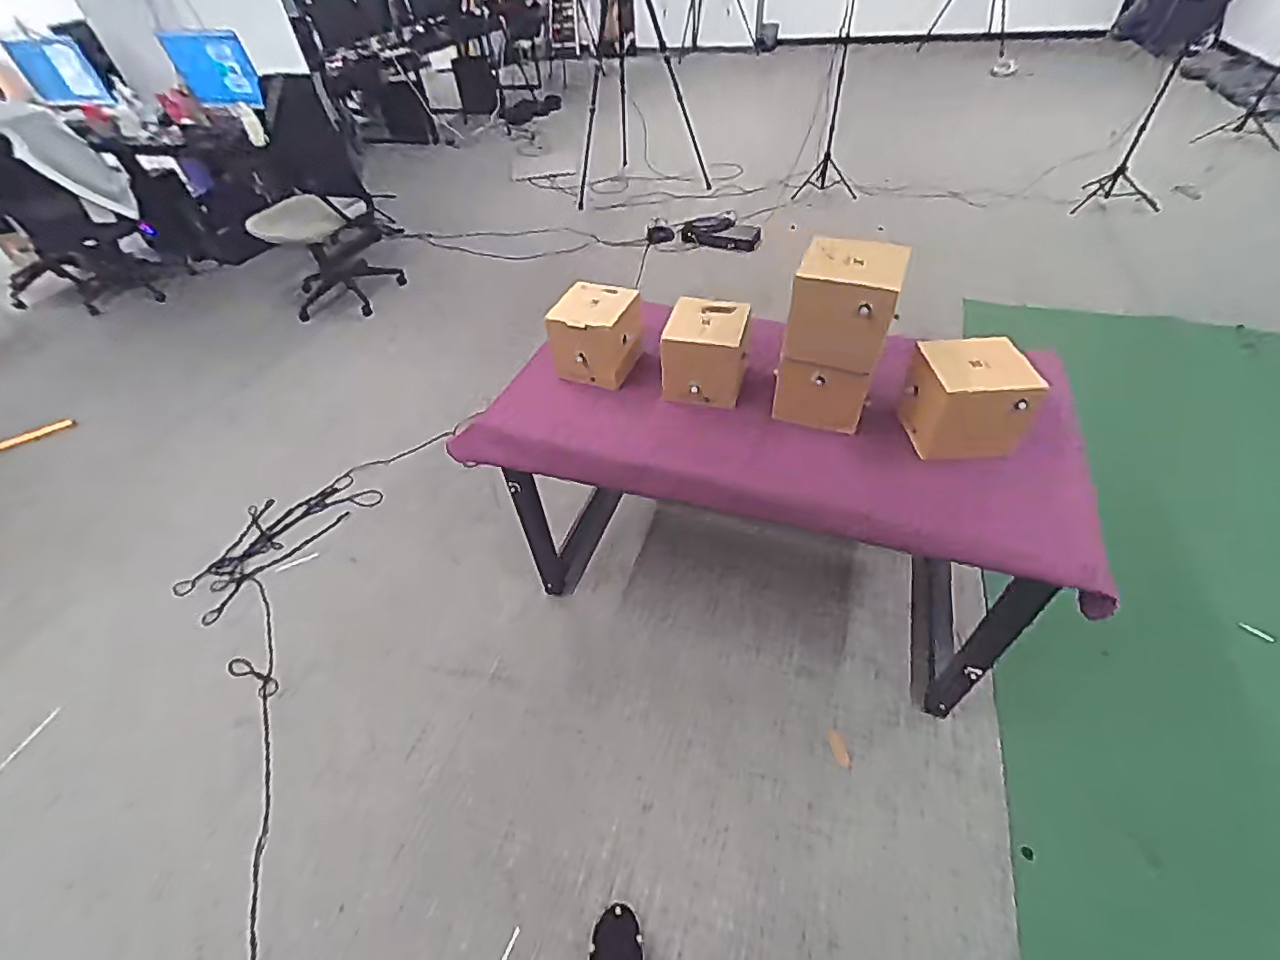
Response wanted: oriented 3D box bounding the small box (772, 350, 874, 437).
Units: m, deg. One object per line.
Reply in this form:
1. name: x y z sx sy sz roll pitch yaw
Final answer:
1. small box: 0.385 -0.213 1.131 0.179 0.176 0.168 17 50 18

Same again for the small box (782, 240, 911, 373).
1. small box: 0.378 -0.320 1.005 0.179 0.176 0.168 16 50 19

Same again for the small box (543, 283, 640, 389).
1. small box: -0.104 -0.340 1.285 0.168 0.176 0.179 15 50 17

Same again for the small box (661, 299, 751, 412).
1. small box: 0.146 -0.279 1.209 0.168 0.176 0.179 10 49 14

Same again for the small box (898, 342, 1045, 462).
1. small box: 0.623 -0.148 1.051 0.179 0.176 0.168 -2 46 3
